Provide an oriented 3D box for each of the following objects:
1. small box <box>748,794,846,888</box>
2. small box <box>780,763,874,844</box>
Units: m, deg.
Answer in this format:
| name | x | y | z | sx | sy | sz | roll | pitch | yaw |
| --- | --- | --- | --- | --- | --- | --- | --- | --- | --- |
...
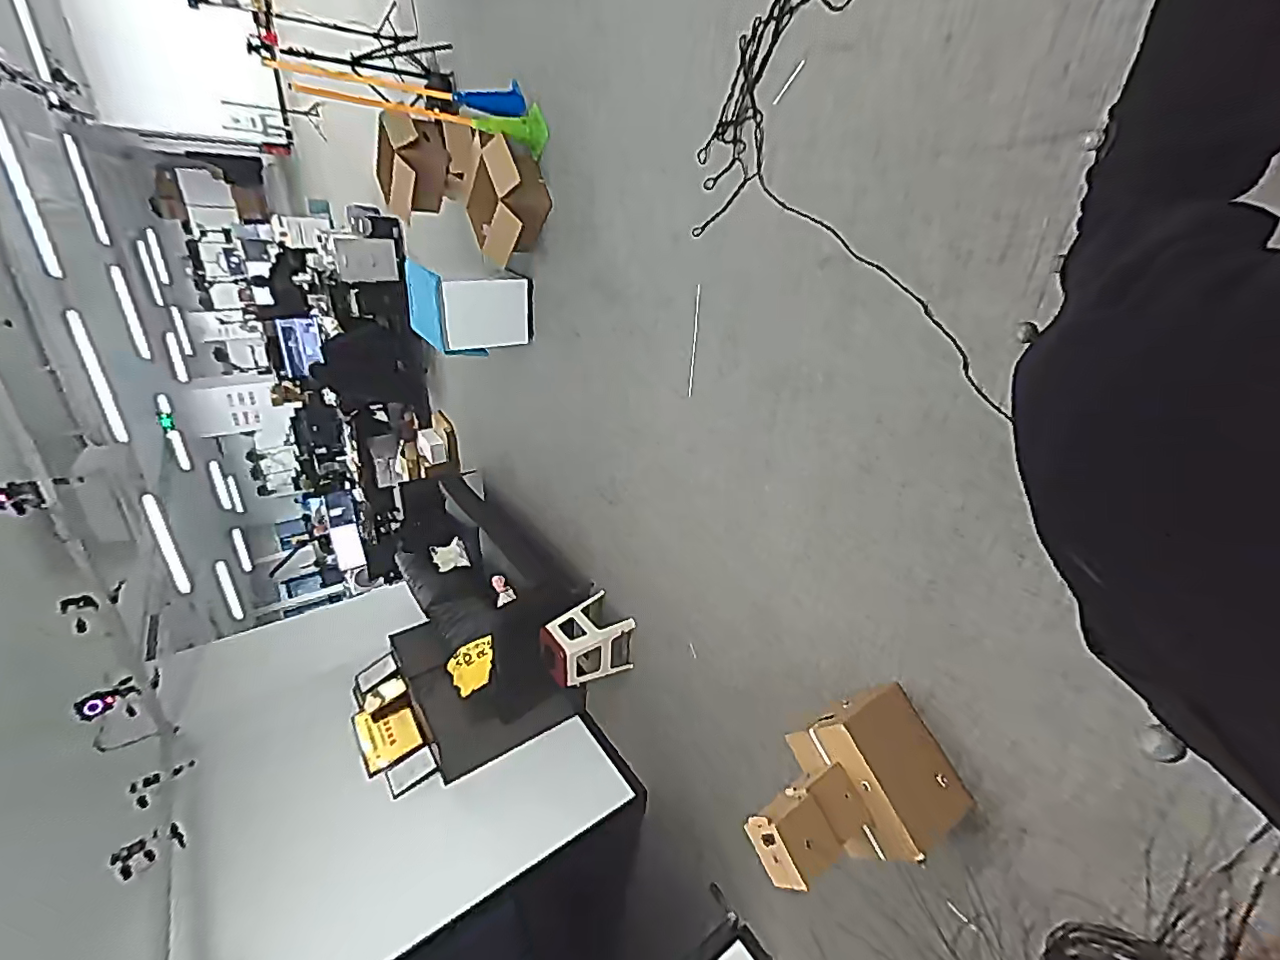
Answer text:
| name | x | y | z | sx | sy | sz | roll | pitch | yaw |
| --- | --- | --- | --- | --- | --- | --- | --- | --- | --- |
| small box | 0.459 | 1.046 | 1.583 | 0.179 | 0.176 | 0.168 | 60 | 145 | 19 |
| small box | 0.583 | 1.009 | 1.687 | 0.179 | 0.176 | 0.168 | 59 | 145 | 23 |
